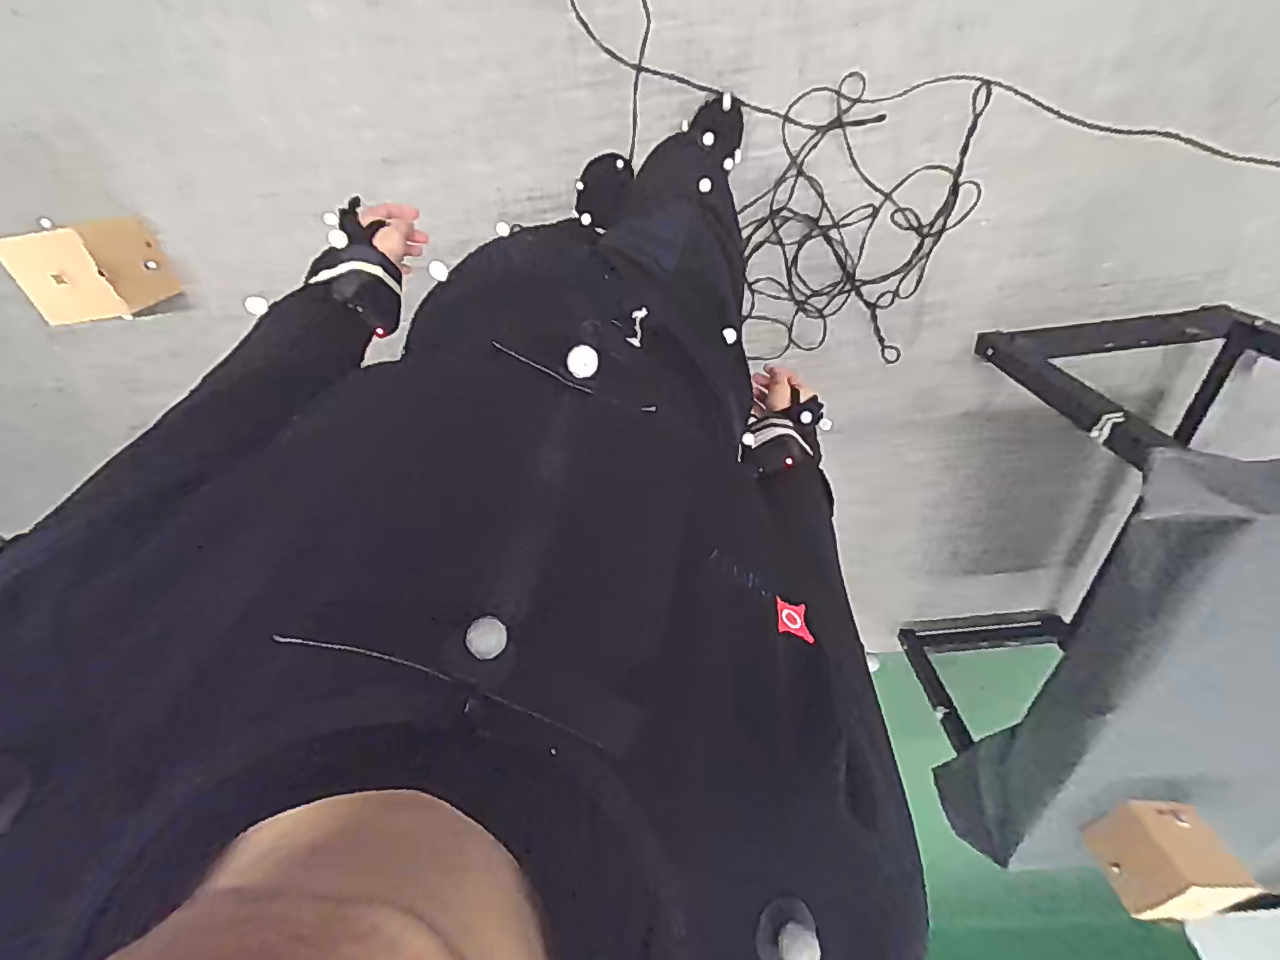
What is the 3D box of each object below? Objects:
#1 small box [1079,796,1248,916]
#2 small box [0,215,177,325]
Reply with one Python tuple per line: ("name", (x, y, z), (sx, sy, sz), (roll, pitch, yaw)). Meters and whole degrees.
("small box", (1.129, 0.827, 1.190), (0.168, 0.176, 0.179), (5, 124, -7))
("small box", (-1.121, -0.431, 1.105), (0.179, 0.176, 0.168), (-7, 125, 2))
